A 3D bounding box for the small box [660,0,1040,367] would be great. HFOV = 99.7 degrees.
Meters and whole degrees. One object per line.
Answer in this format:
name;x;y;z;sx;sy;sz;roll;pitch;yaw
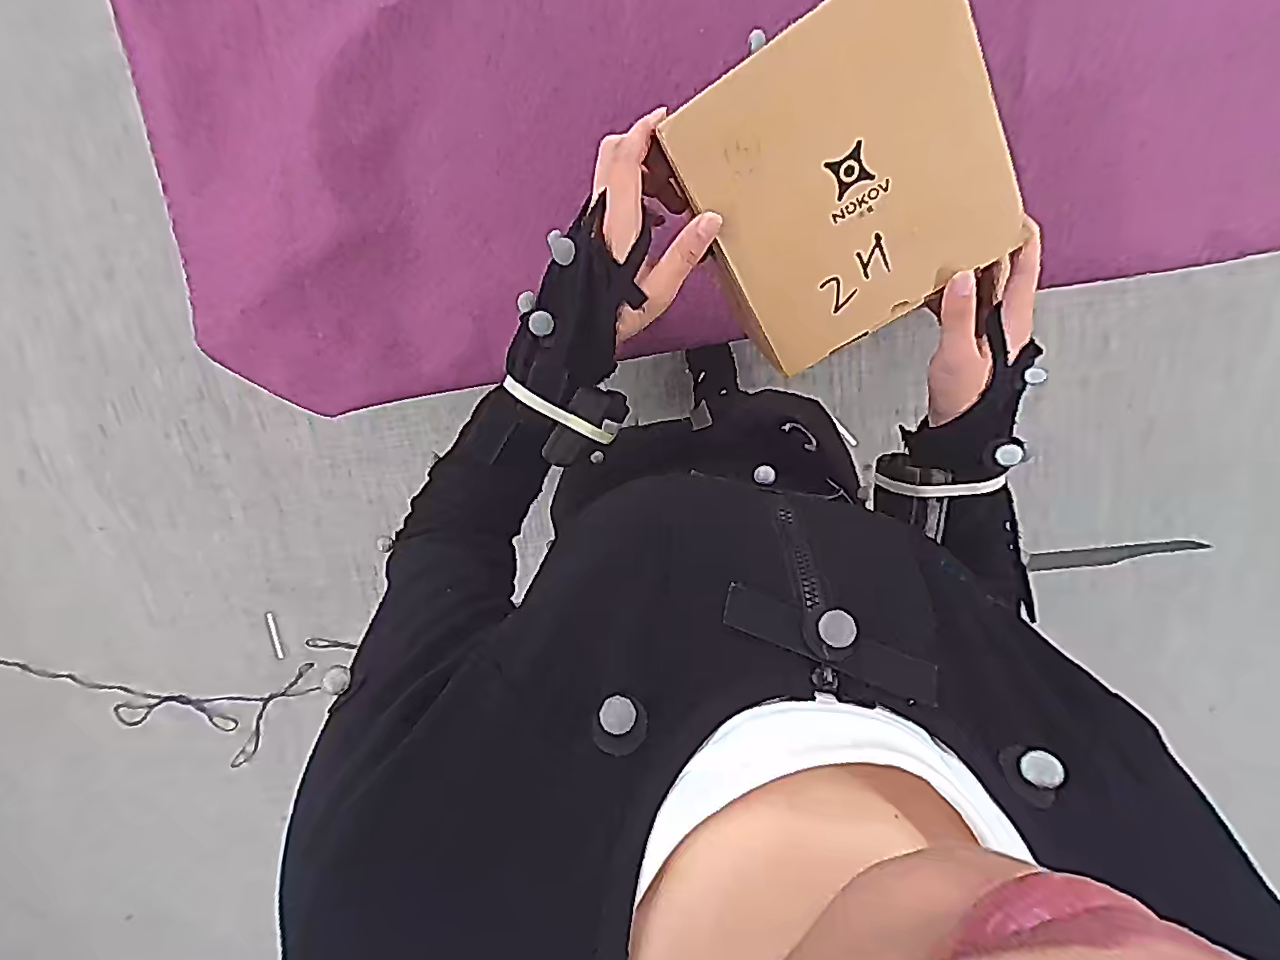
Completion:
small box;0.123;-0.211;0.375;0.168;0.176;0.179;-29;115;14
